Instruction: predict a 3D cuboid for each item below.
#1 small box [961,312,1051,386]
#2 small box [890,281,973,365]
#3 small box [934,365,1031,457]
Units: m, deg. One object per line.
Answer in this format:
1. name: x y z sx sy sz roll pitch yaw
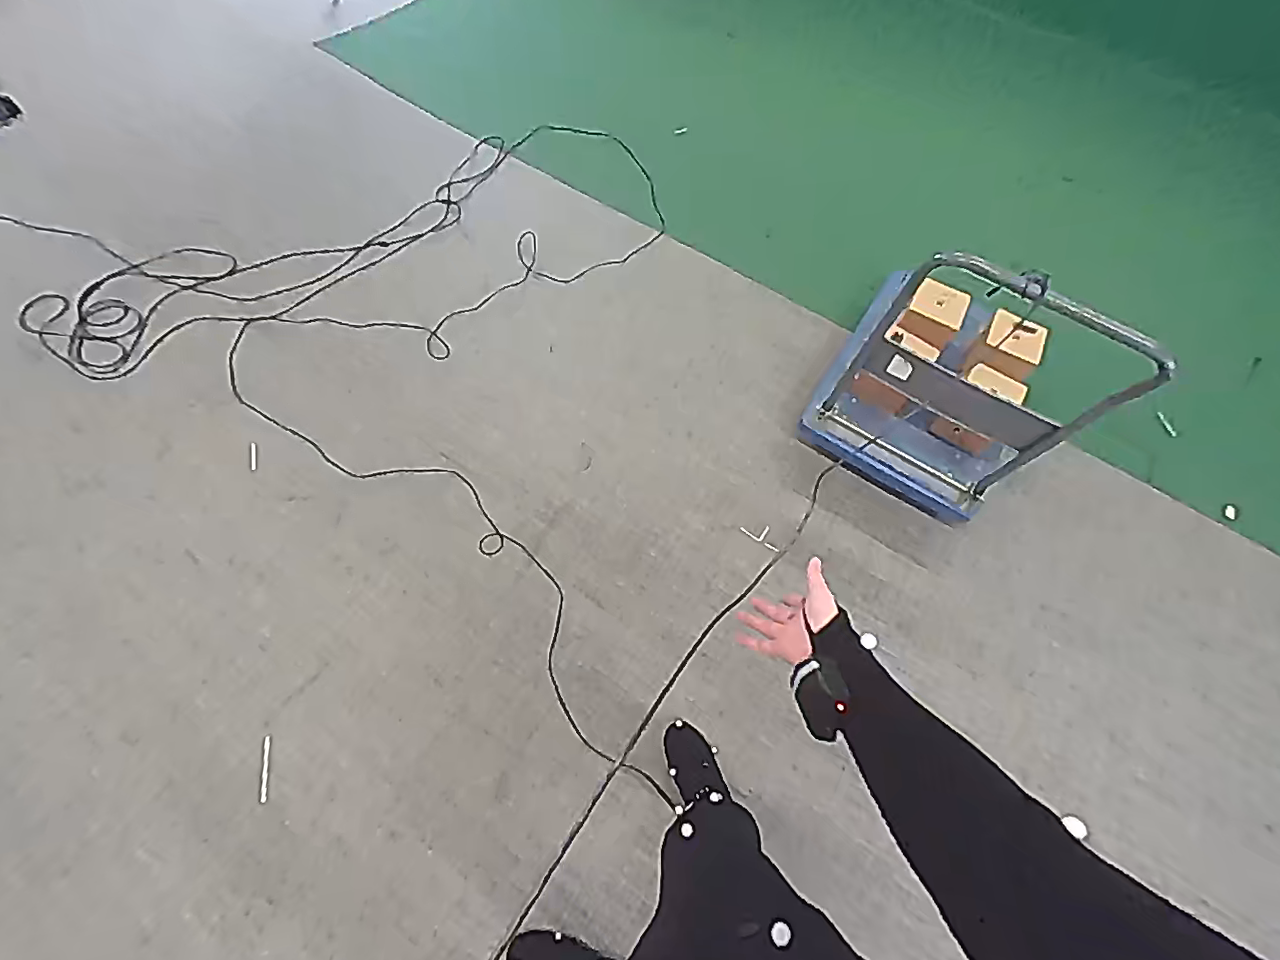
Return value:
1. small box: 1.178 -0.400 1.752 0.168 0.176 0.179 28 65 11
2. small box: 0.960 -0.516 1.796 0.168 0.176 0.179 29 64 10
3. small box: 1.029 -0.206 1.637 0.168 0.176 0.179 33 65 12
